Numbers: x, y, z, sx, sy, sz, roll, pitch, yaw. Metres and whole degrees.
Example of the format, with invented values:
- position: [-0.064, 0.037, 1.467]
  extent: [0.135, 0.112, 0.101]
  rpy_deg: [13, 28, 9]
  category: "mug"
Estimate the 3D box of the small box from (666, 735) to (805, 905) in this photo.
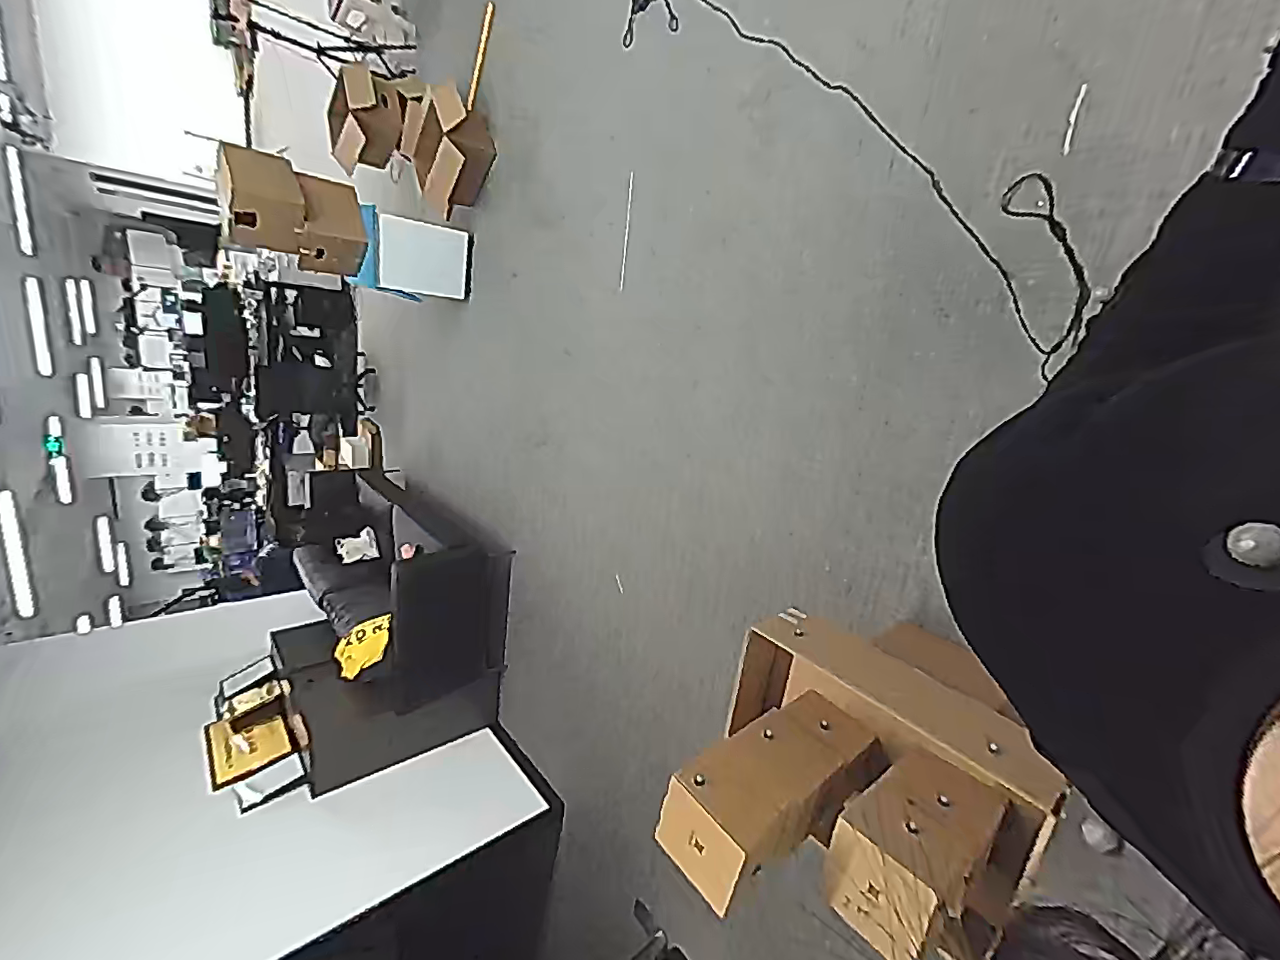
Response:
- position: [0.179, 0.619, 1.012]
  extent: [0.179, 0.176, 0.168]
  rpy_deg: [31, 119, 42]
  category: "small box"

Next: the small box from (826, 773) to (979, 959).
- position: [0.455, 0.654, 0.935]
  extent: [0.168, 0.176, 0.179]
  rpy_deg: [25, 113, 47]
  category: "small box"
